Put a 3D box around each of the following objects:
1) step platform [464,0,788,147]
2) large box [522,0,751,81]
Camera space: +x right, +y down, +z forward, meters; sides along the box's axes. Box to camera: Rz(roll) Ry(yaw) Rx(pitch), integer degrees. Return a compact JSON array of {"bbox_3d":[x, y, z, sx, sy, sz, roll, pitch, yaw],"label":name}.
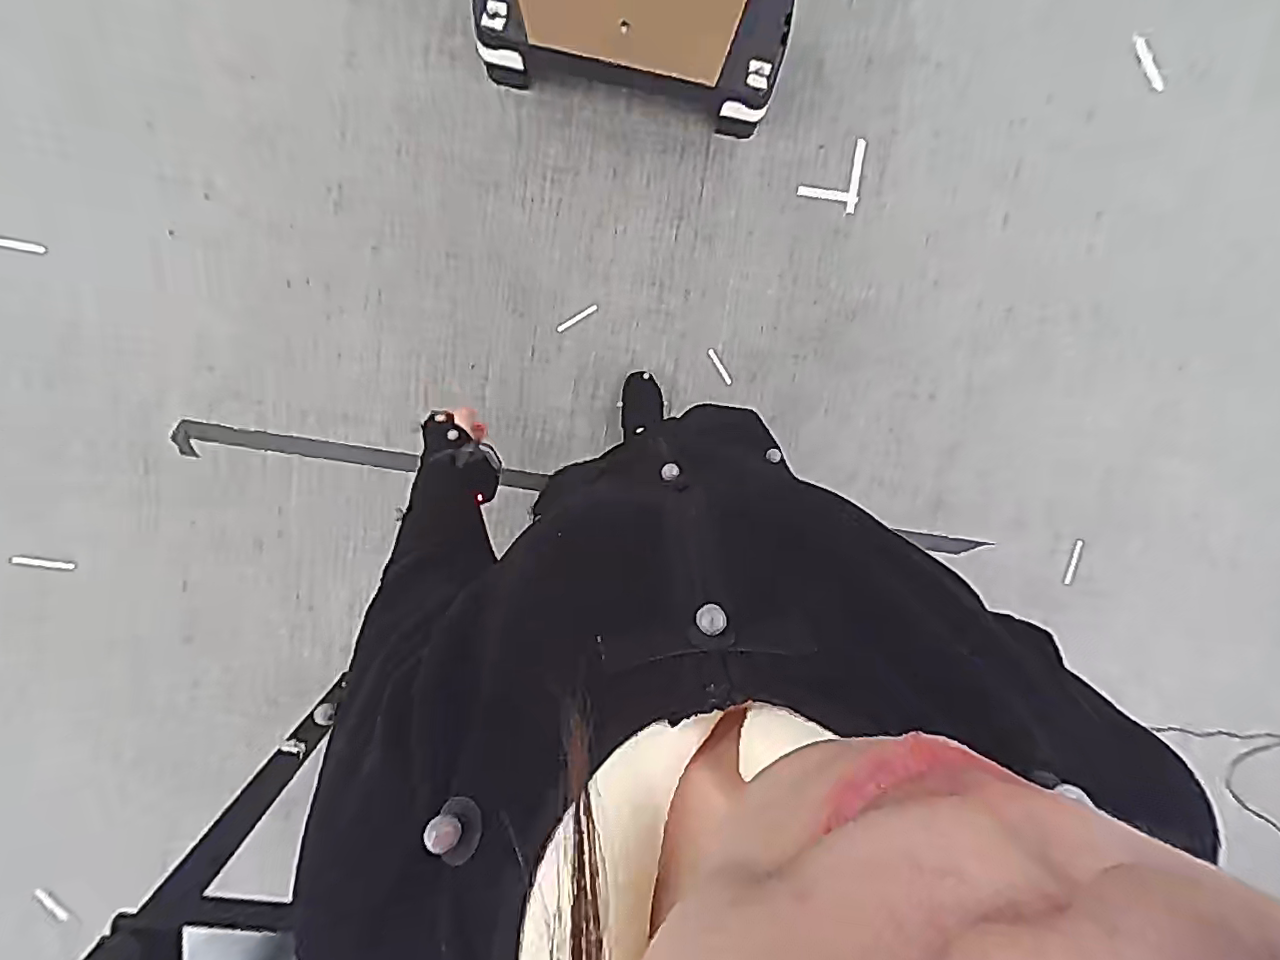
[{"bbox_3d":[-0.027,-1.013,1.194,0.684,0.204,0.286,14,99,-5],"label":"step platform"},{"bbox_3d":[0.006,-0.983,0.958,0.408,0.320,0.320,9,99,-4],"label":"large box"}]
